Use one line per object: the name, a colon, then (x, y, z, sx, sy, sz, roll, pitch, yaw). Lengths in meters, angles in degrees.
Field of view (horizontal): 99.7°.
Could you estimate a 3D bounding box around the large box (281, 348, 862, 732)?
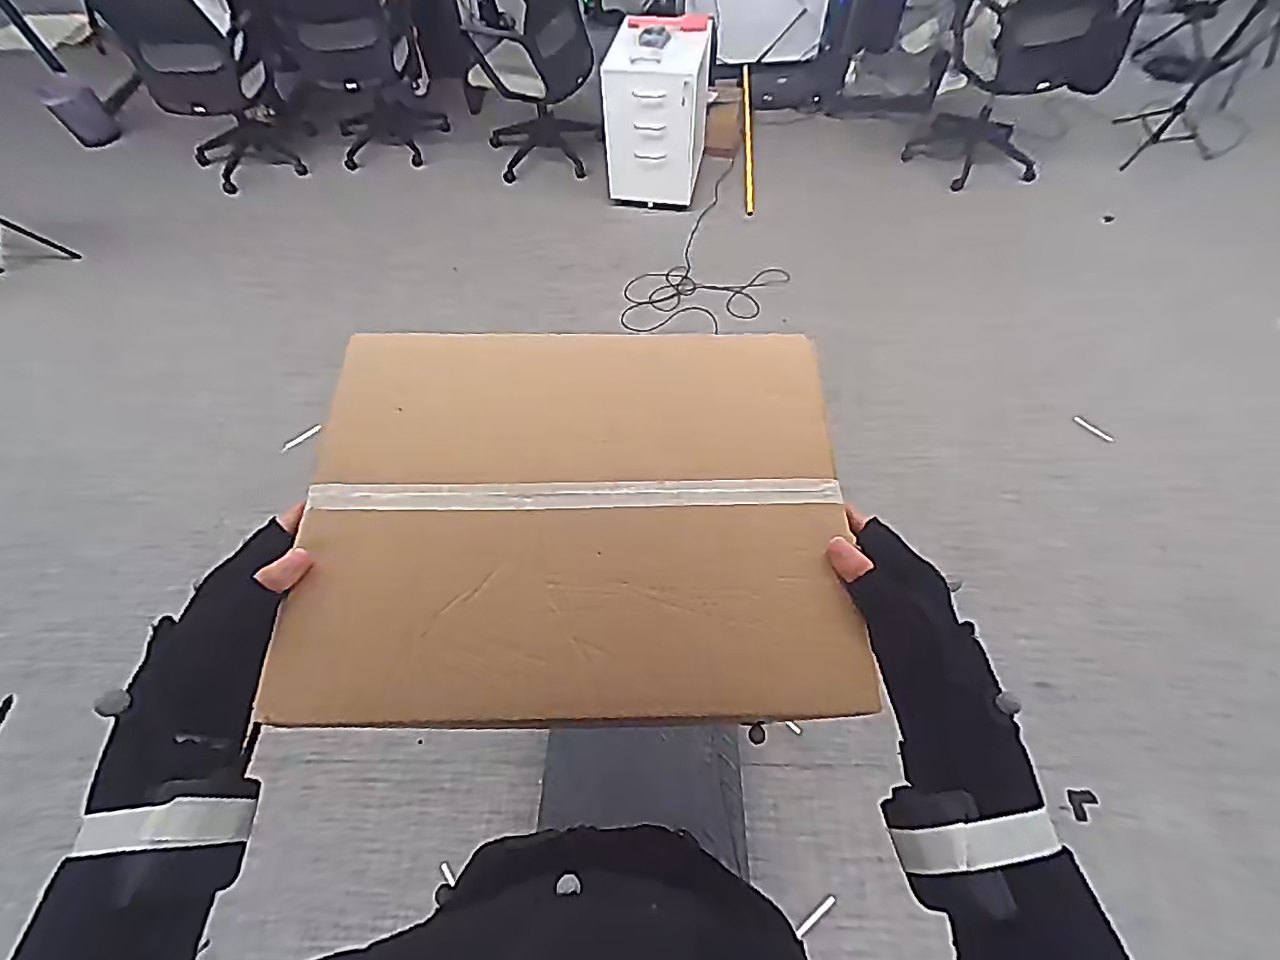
large box: (-0.049, 0.084, 0.562, 0.408, 0.320, 0.320, -1, 64, -1)
